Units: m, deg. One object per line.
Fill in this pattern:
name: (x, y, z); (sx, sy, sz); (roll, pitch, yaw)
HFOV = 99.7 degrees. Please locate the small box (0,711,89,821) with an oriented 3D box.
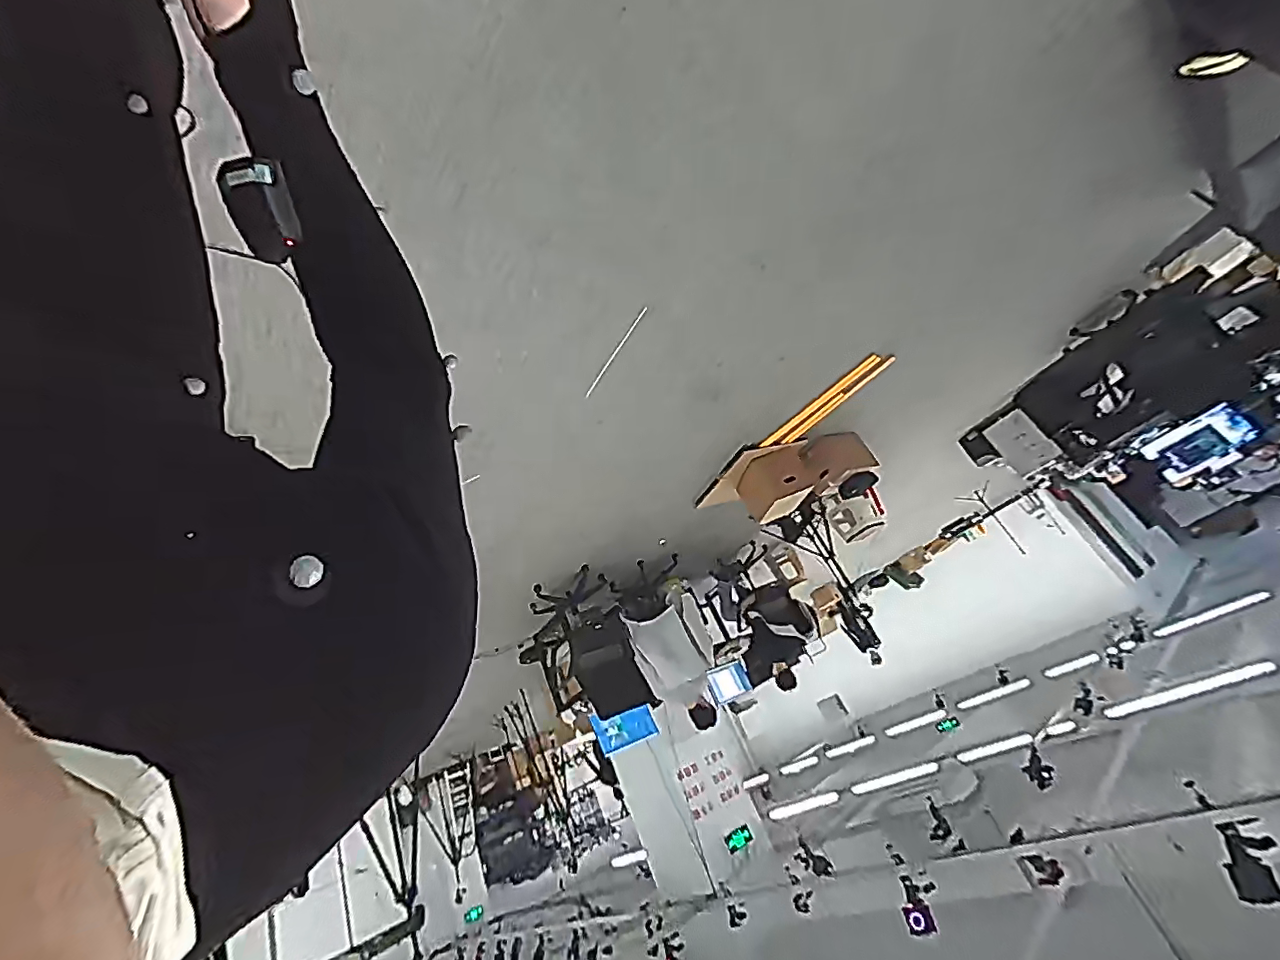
small box: (-1.399, 0.657, 1.245); (0.168, 0.176, 0.179); (-3, 146, -40)
